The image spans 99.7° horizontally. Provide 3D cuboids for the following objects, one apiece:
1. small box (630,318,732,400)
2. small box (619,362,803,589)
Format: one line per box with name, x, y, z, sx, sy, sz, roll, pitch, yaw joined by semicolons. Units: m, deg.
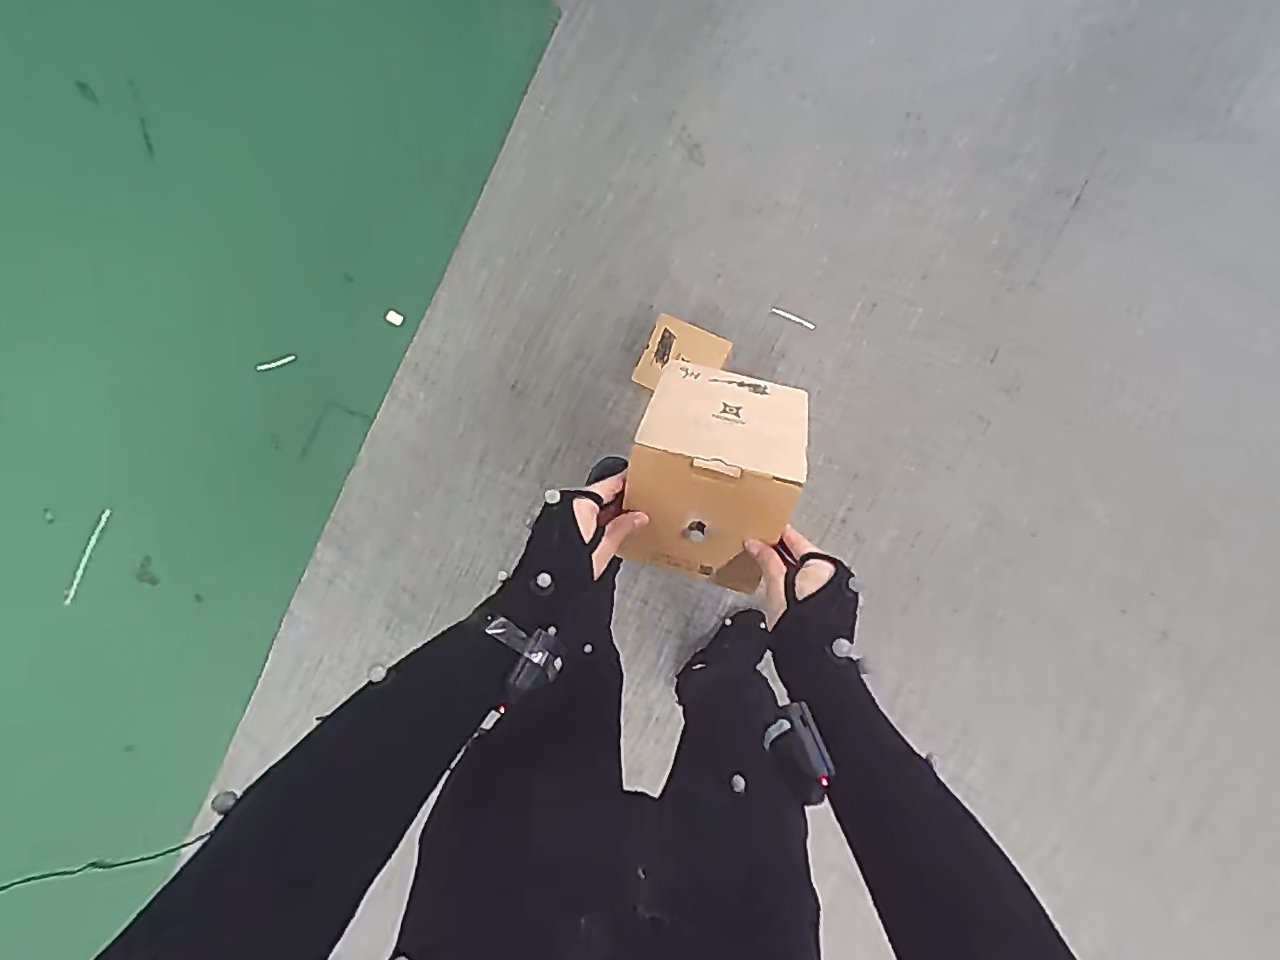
small box;0.099;-0.247;1.259;0.179;0.176;0.168;25;93;7
small box;0.077;-0.004;0.616;0.168;0.179;0.176;15;132;5
